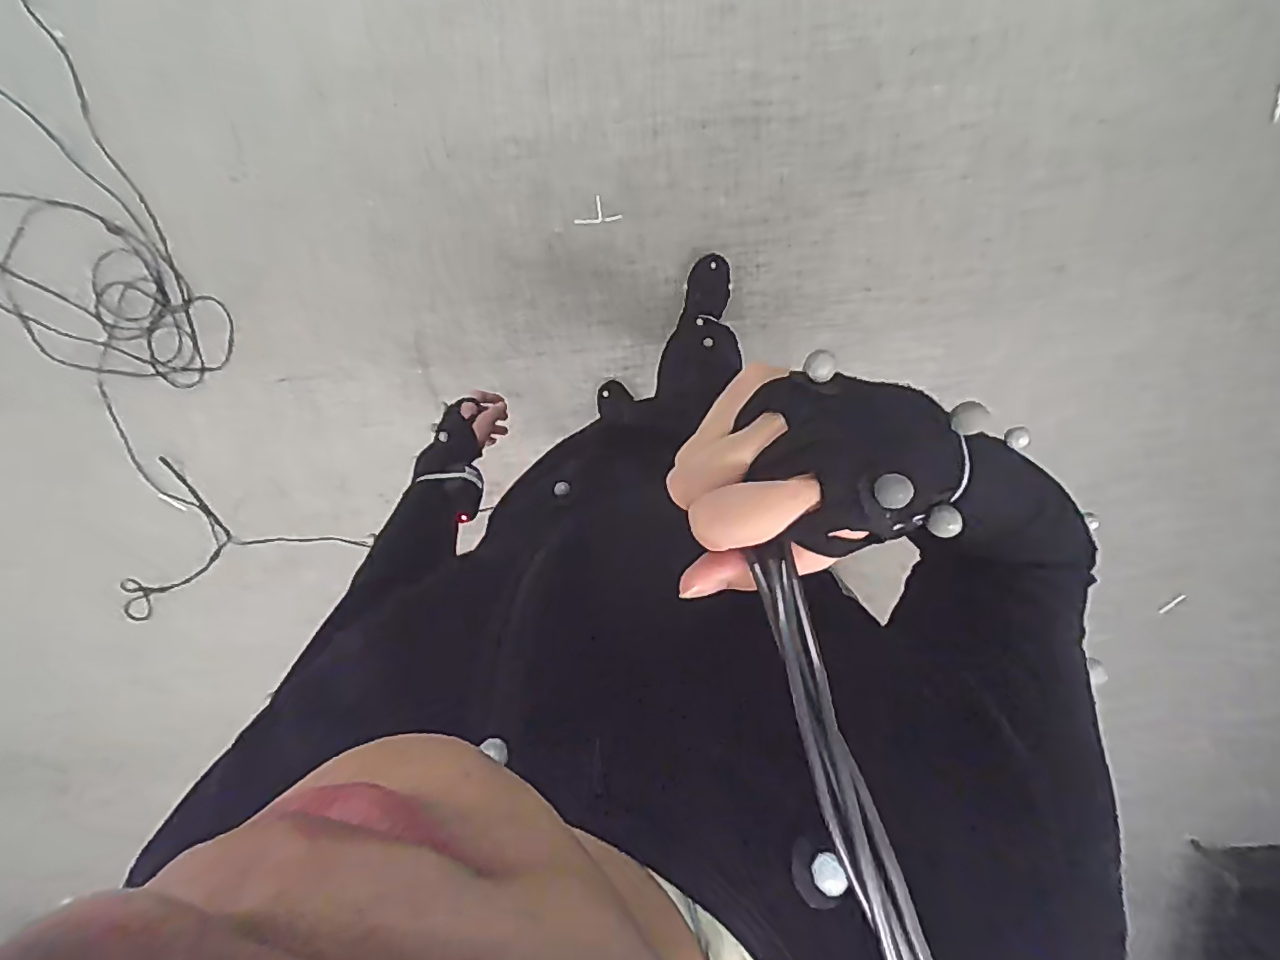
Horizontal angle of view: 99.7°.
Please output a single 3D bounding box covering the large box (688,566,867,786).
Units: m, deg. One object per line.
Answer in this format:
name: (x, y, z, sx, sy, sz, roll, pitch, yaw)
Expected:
large box: (0.349, 0.506, 1.443, 0.320, 0.320, 0.408, -19, 106, 5)
